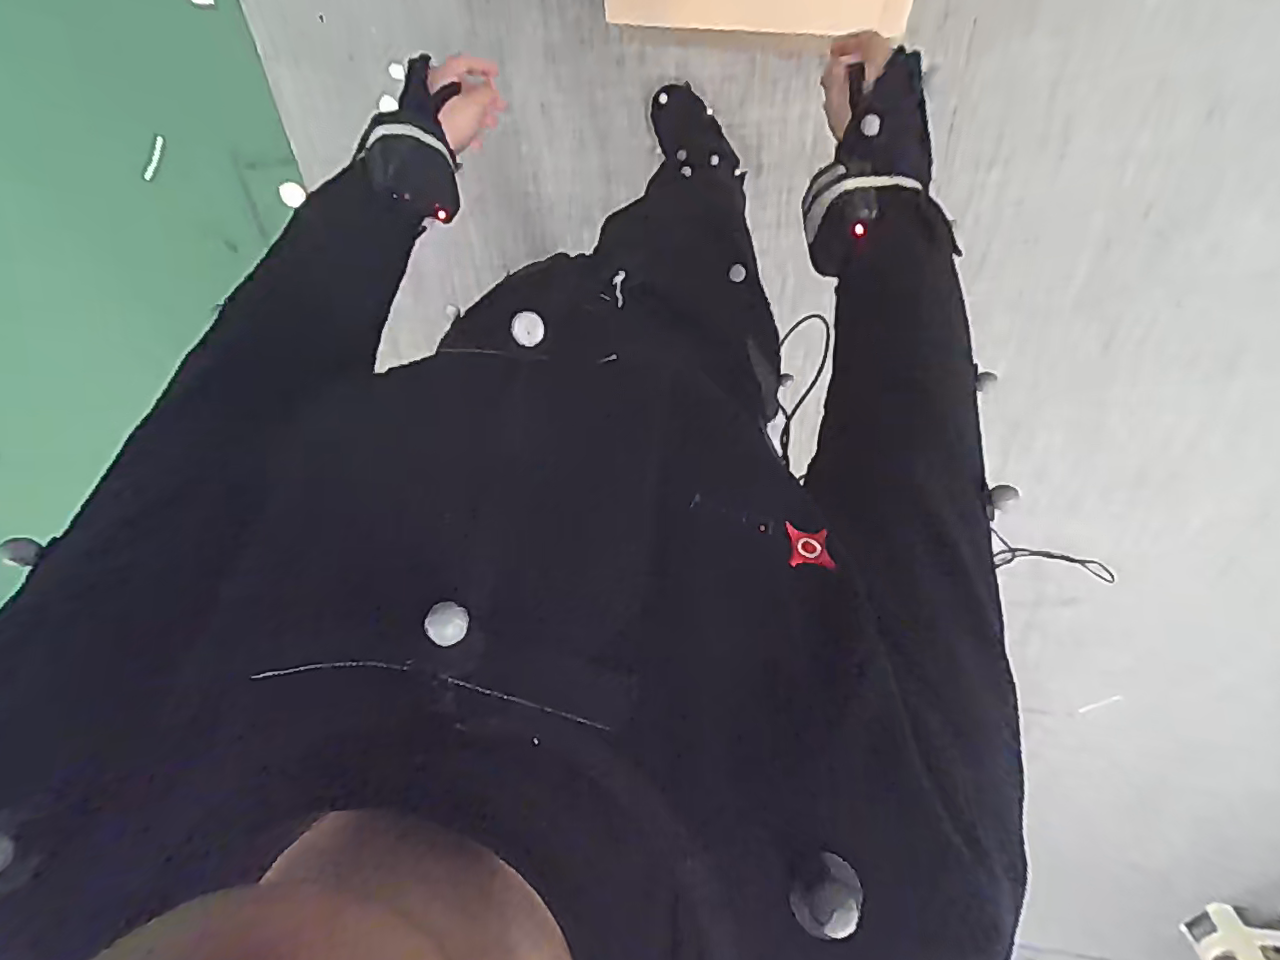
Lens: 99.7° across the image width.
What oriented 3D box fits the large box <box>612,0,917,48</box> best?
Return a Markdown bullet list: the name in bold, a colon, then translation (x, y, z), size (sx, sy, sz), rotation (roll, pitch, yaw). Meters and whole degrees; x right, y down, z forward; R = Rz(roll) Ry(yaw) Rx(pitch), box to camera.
- **large box**: translation (0.176, -0.817, 0.759), size (0.408, 0.320, 0.320), rotation (5, 126, 4)
